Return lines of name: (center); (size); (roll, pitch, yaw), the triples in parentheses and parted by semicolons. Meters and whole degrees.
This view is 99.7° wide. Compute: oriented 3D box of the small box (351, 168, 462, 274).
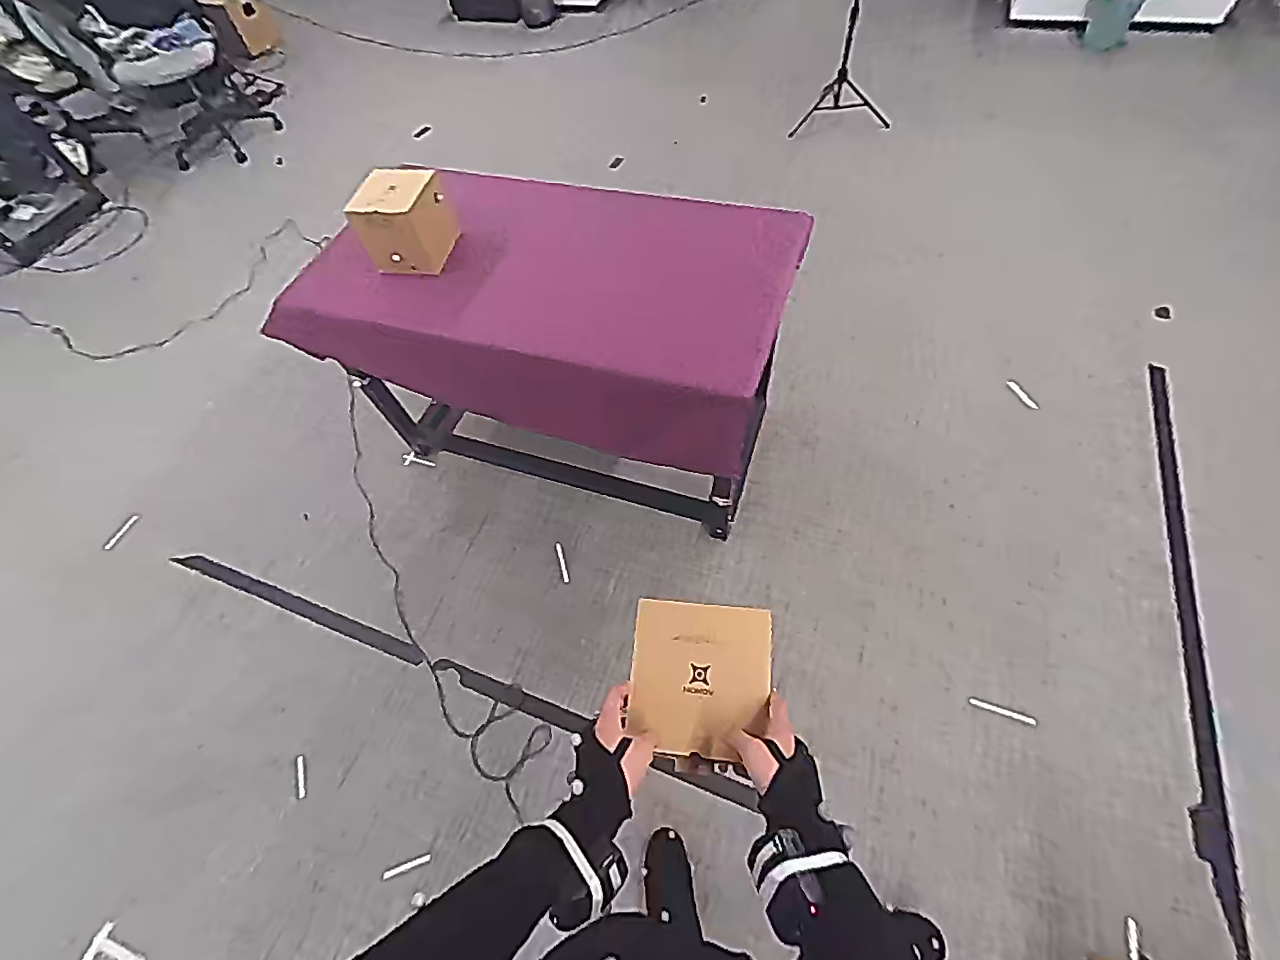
small box: (-0.561, -0.636, 1.330); (0.168, 0.176, 0.179); (6, 61, 11)

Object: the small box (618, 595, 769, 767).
small box: (0.073, 0.257, 0.701); (0.168, 0.176, 0.179); (4, 68, 7)
